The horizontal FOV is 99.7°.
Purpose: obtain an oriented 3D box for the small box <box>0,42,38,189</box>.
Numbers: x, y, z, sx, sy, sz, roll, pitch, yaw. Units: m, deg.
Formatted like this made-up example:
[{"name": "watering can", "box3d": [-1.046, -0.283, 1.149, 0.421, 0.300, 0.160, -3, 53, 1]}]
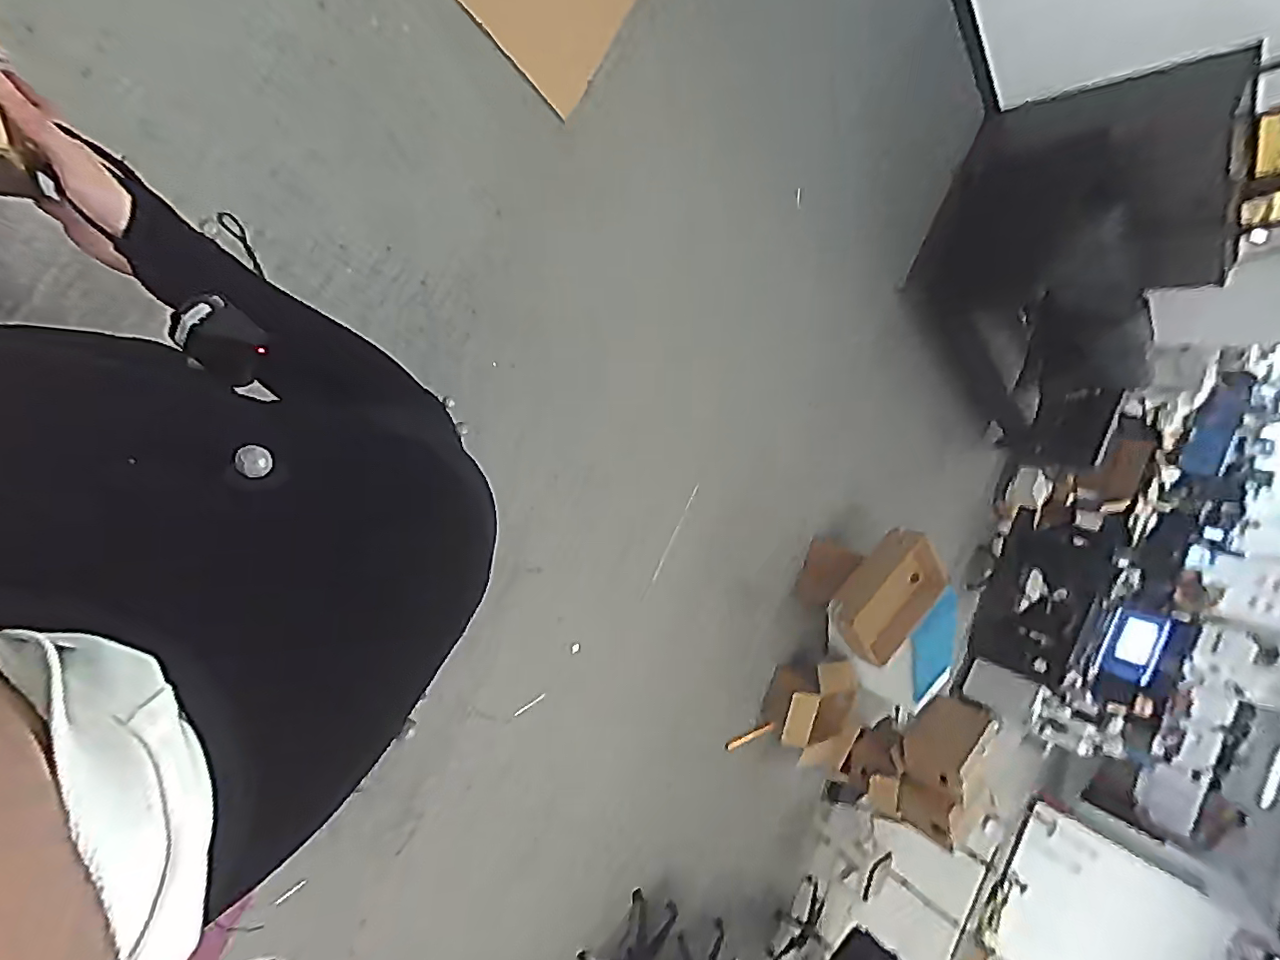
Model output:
[{"name": "small box", "box3d": [-0.535, -0.302, 0.345, 0.168, 0.176, 0.179, -15, 111, -40]}]
